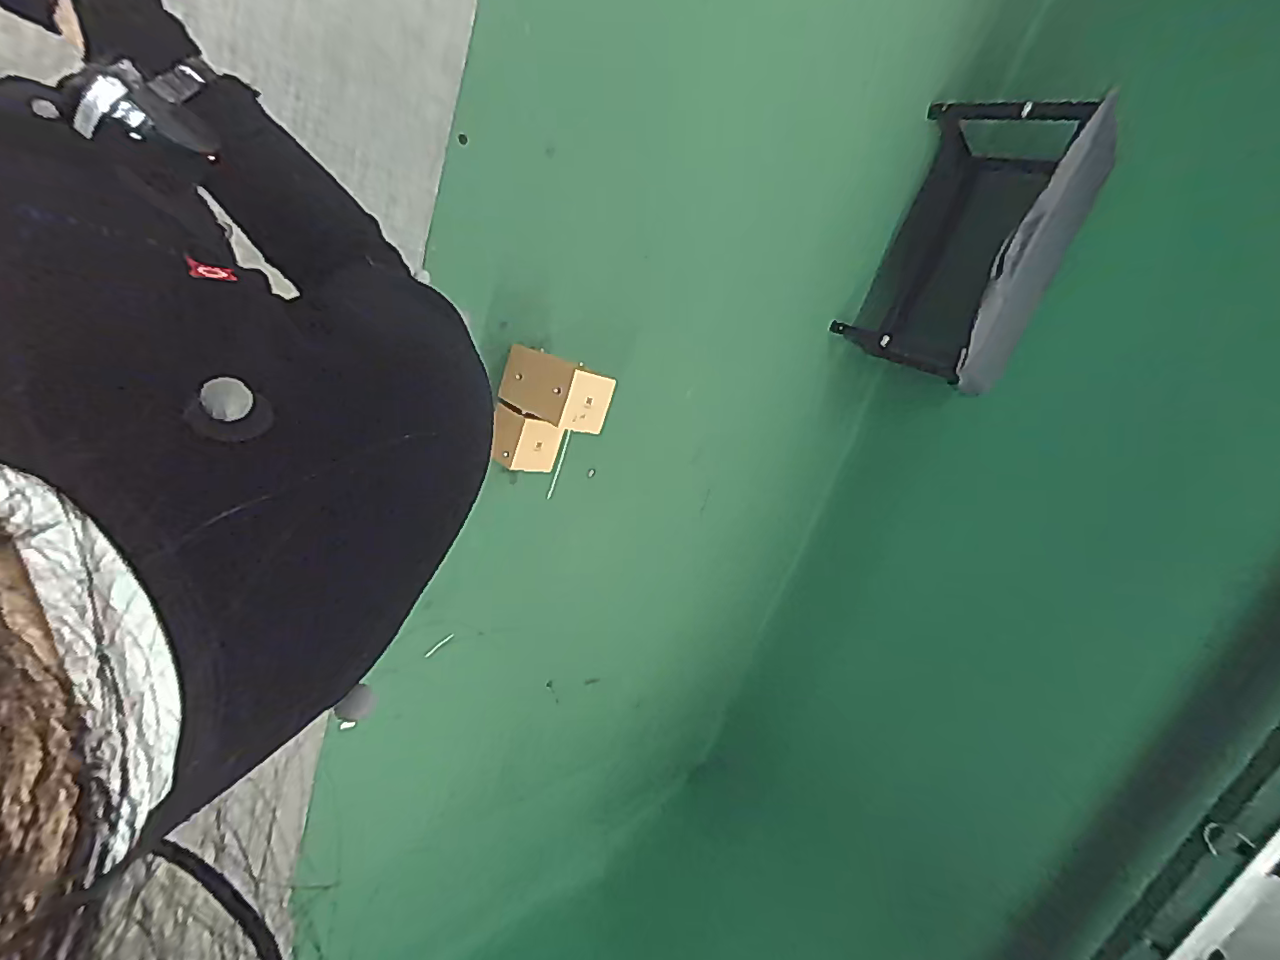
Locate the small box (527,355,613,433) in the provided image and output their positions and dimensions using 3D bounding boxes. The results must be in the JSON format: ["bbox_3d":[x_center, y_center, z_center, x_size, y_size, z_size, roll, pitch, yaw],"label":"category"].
[{"bbox_3d":[-0.215,-0.259,1.618,0.168,0.176,0.179,5,110,-49],"label":"small box"}]
